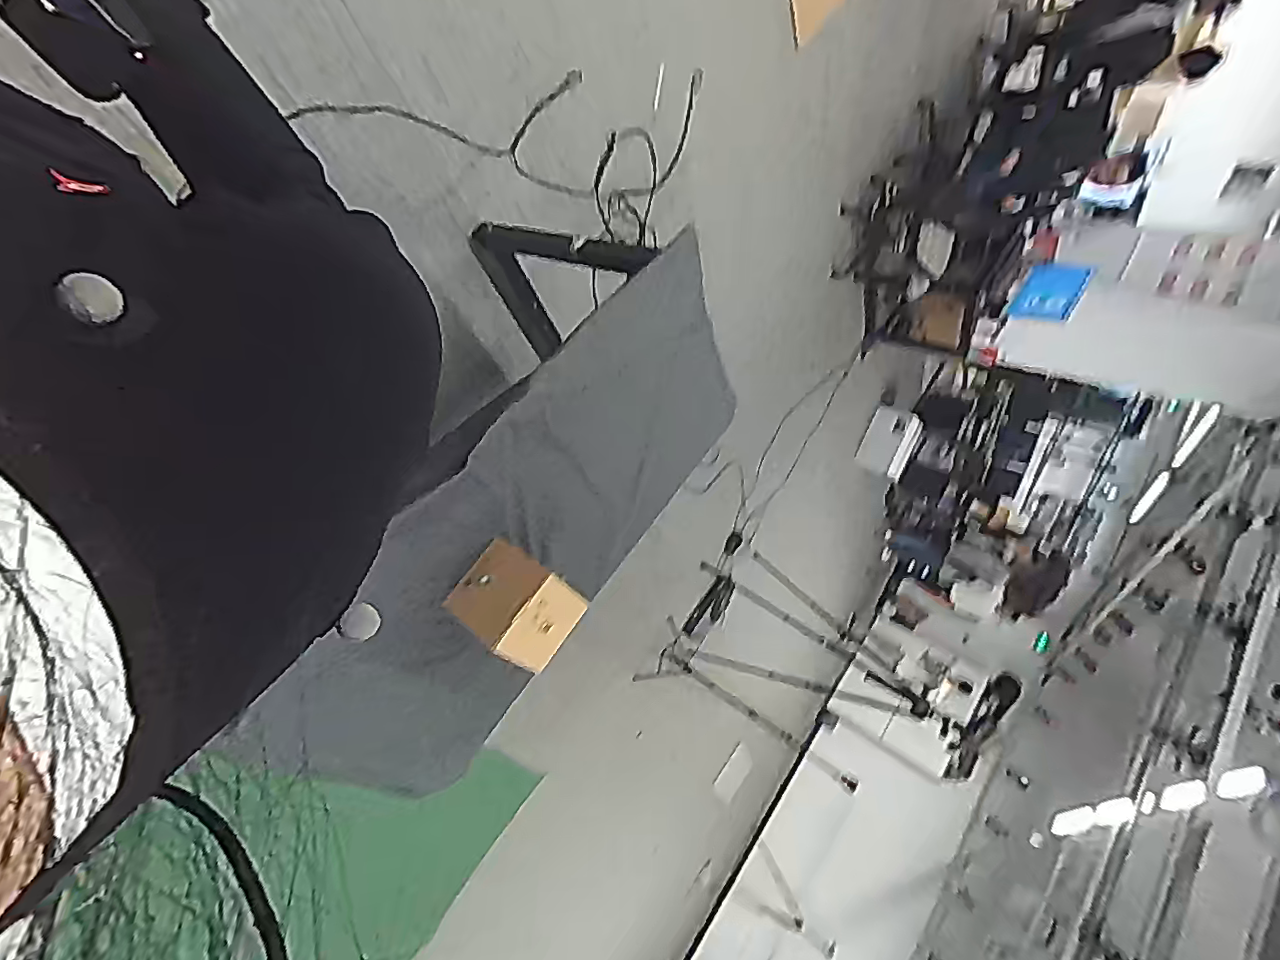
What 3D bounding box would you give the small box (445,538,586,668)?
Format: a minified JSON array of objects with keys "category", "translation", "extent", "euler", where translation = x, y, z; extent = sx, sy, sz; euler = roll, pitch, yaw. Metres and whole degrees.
[{"category":"small box","translation":[-0.246,0.241,1.080],"extent":[0.168,0.176,0.179],"euler":[-53,144,-16]}]
